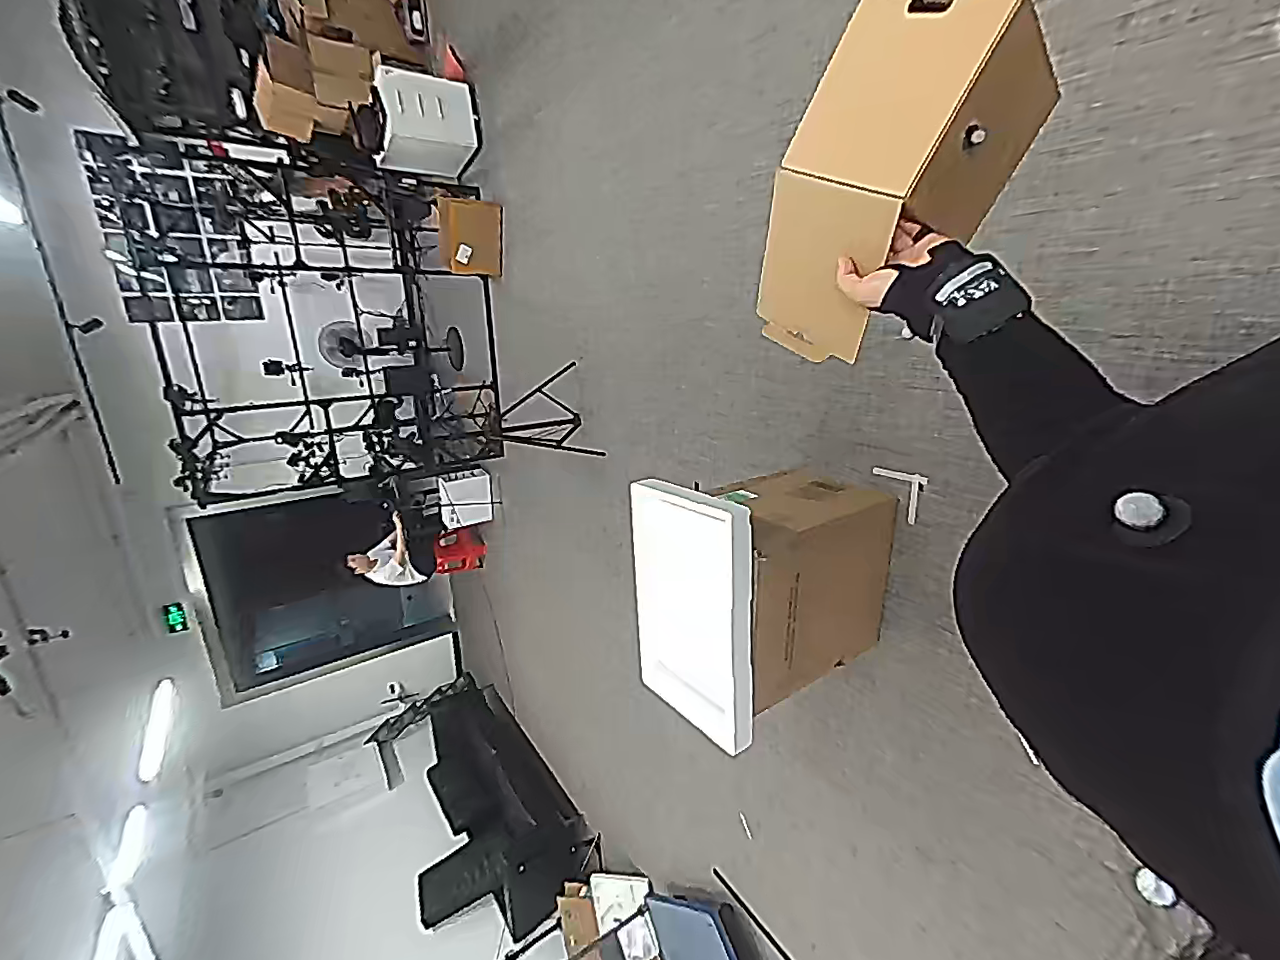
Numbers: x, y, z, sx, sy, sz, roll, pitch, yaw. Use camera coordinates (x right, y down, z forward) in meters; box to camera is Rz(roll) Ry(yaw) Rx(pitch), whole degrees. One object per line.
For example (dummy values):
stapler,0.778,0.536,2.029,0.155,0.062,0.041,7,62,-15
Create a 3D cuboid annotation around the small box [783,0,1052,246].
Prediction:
small box,0.296,-0.378,0.579,0.168,0.176,0.179,44,118,38
